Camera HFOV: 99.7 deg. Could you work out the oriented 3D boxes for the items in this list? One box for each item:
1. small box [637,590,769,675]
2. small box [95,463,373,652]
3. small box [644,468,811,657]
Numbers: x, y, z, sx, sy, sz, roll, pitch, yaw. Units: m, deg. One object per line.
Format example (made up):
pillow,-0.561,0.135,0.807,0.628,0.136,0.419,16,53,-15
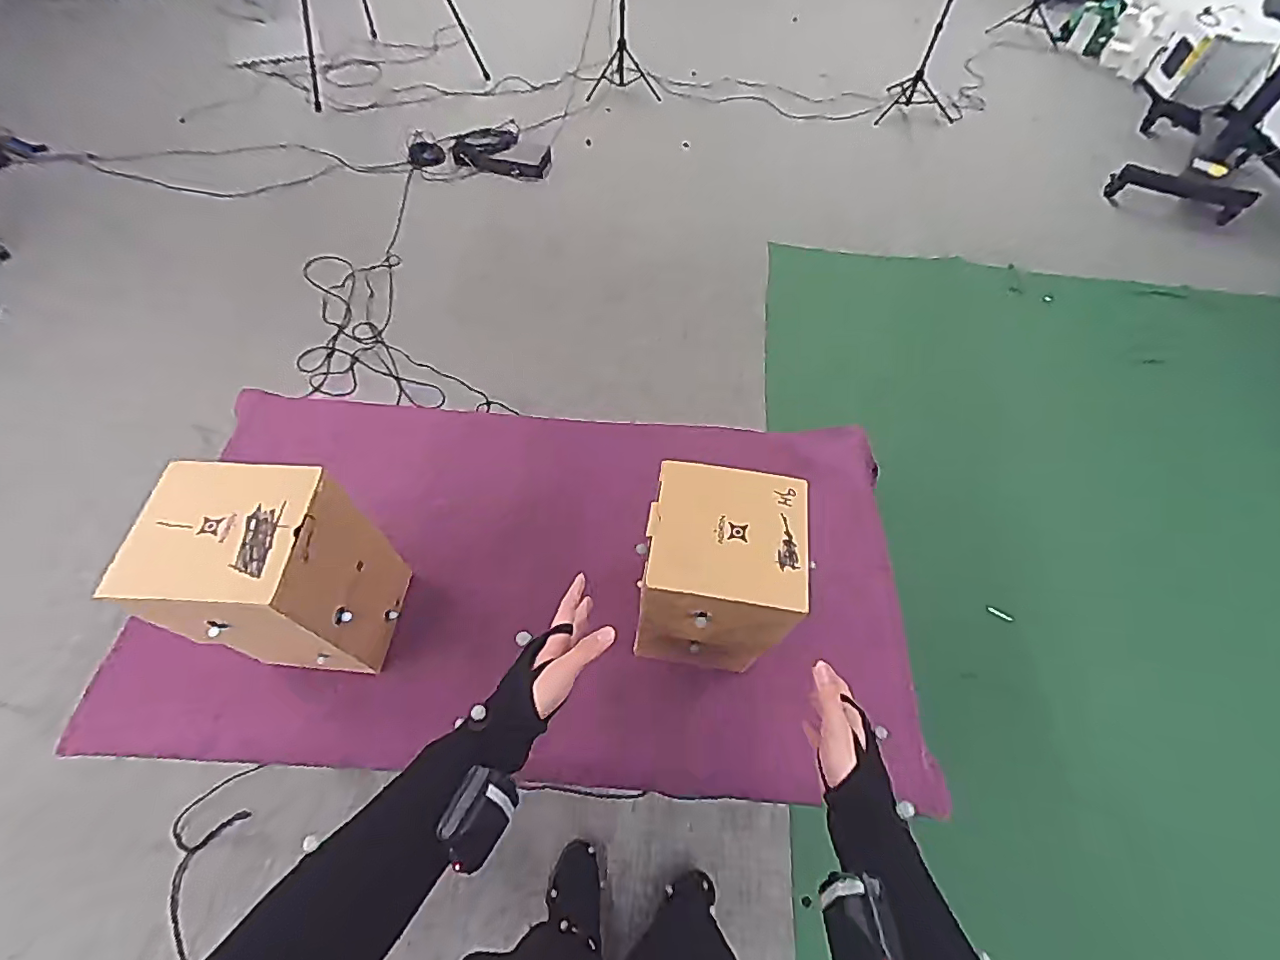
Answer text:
small box,0.095,0.186,0.815,0.179,0.176,0.168,8,58,3
small box,-0.445,0.098,0.636,0.179,0.176,0.168,3,57,-2
small box,0.102,0.108,0.670,0.179,0.176,0.168,9,58,3
